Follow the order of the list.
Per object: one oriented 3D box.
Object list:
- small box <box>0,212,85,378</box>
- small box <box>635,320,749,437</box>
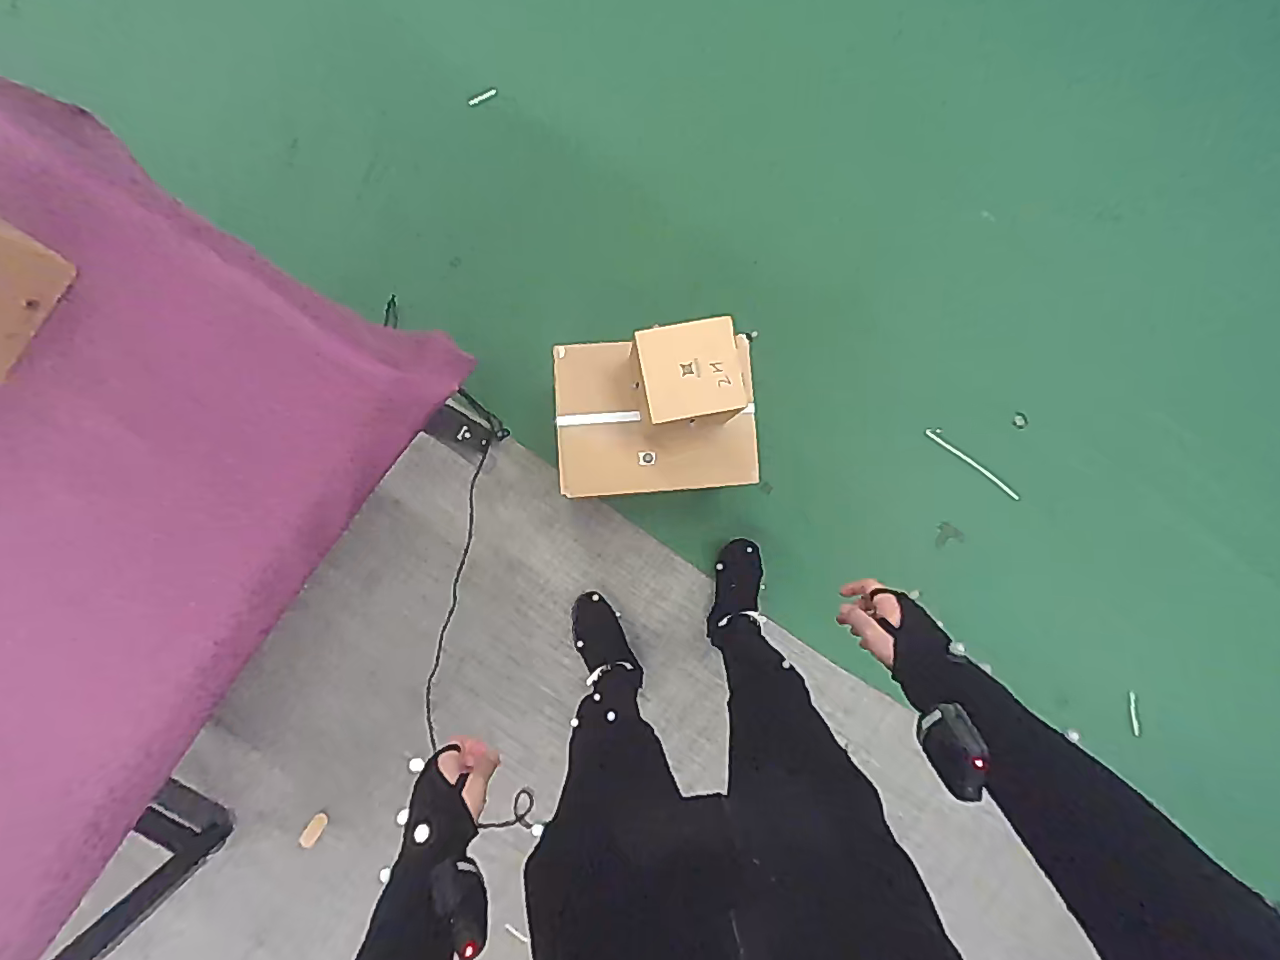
[{"bbox_3d":[-0.746,-0.222,0.539,0.179,0.176,0.168,33,88,-3],"label":"small box"},{"bbox_3d":[0.088,-0.181,1.016,0.179,0.176,0.168,-10,88,-5],"label":"small box"}]
